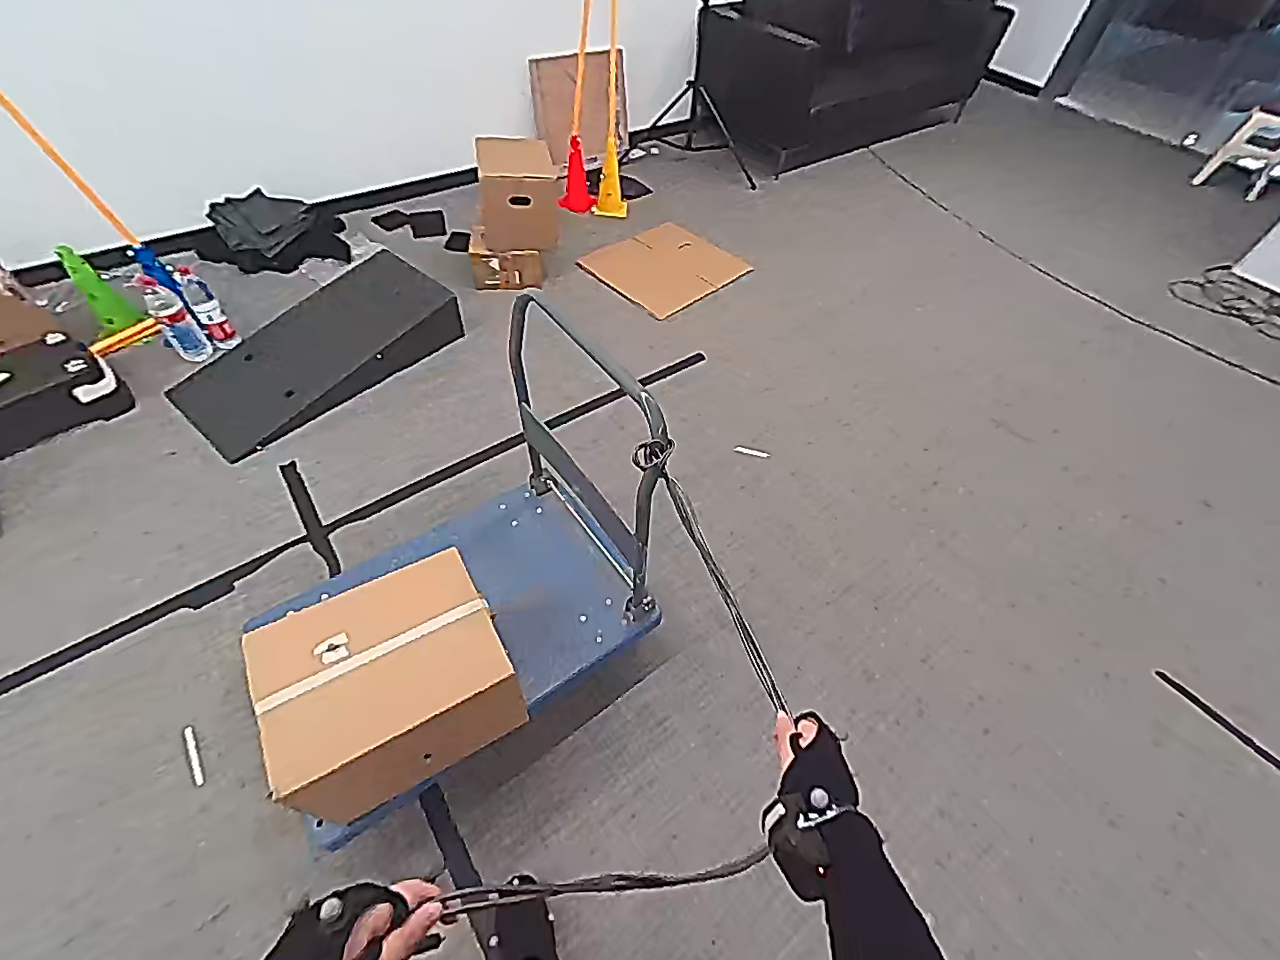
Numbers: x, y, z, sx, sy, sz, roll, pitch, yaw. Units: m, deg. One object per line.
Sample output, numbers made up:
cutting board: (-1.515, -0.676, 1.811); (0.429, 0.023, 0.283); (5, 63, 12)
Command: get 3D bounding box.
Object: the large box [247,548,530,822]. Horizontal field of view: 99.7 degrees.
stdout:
large box: (-0.480, 0.411, 1.100); (0.408, 0.320, 0.320); (-24, 56, -22)
